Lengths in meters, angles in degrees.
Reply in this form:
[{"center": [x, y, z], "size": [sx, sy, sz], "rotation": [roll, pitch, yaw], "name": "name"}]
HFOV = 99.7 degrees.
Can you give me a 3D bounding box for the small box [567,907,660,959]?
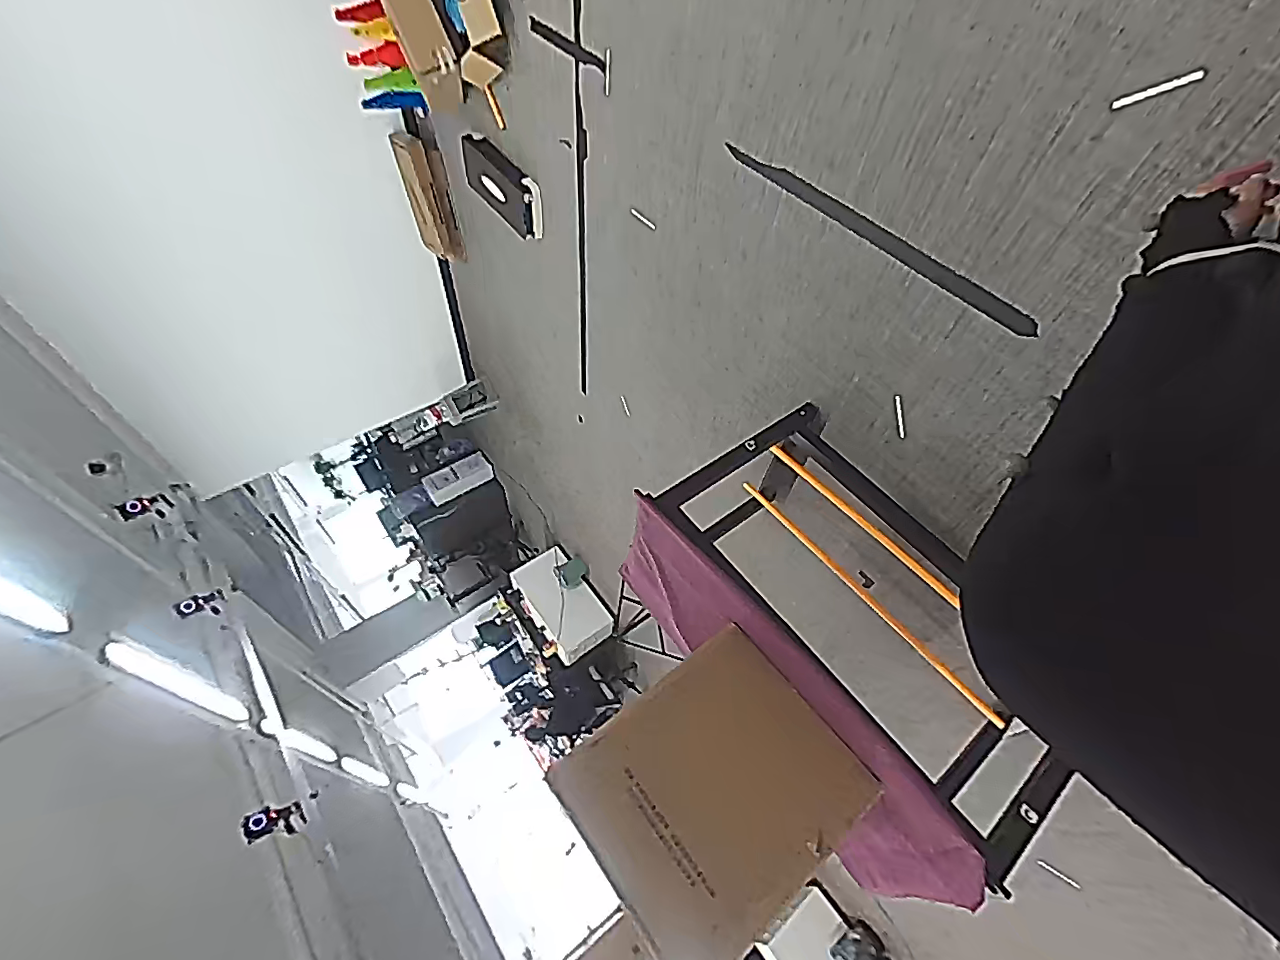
[{"center": [-0.052, 1.141, 1.262], "size": [0.179, 0.176, 0.168], "rotation": [47, 154, 28], "name": "small box"}]
